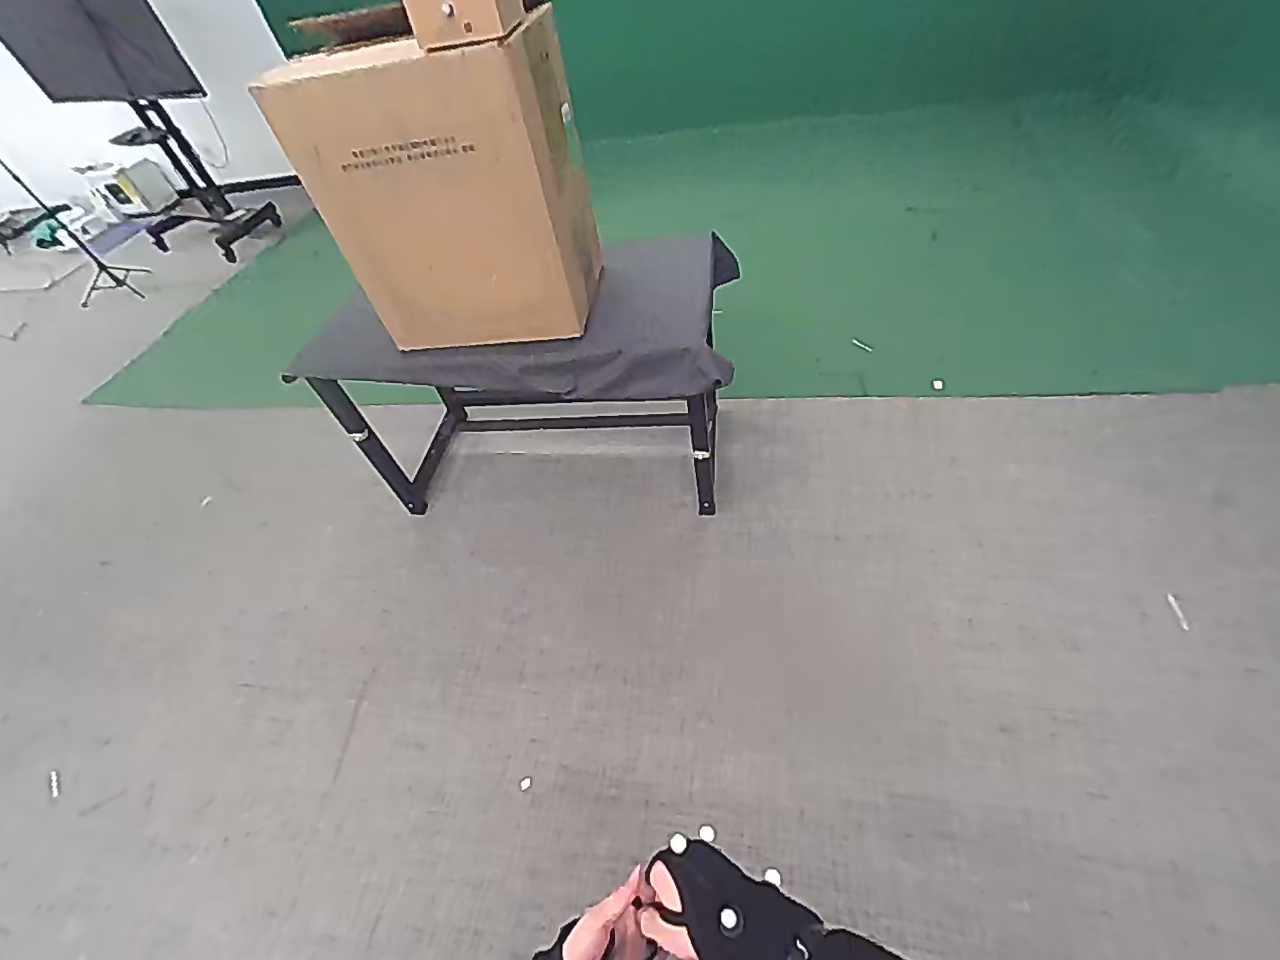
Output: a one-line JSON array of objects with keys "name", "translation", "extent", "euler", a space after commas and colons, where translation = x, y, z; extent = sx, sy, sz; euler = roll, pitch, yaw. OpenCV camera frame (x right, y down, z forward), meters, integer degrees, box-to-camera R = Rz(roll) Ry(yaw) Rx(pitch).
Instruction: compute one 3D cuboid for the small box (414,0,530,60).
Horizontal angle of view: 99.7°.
[{"name": "small box", "translation": [-0.310, -0.889, 0.979], "extent": [0.168, 0.176, 0.179], "euler": [-1, 50, 9]}]
